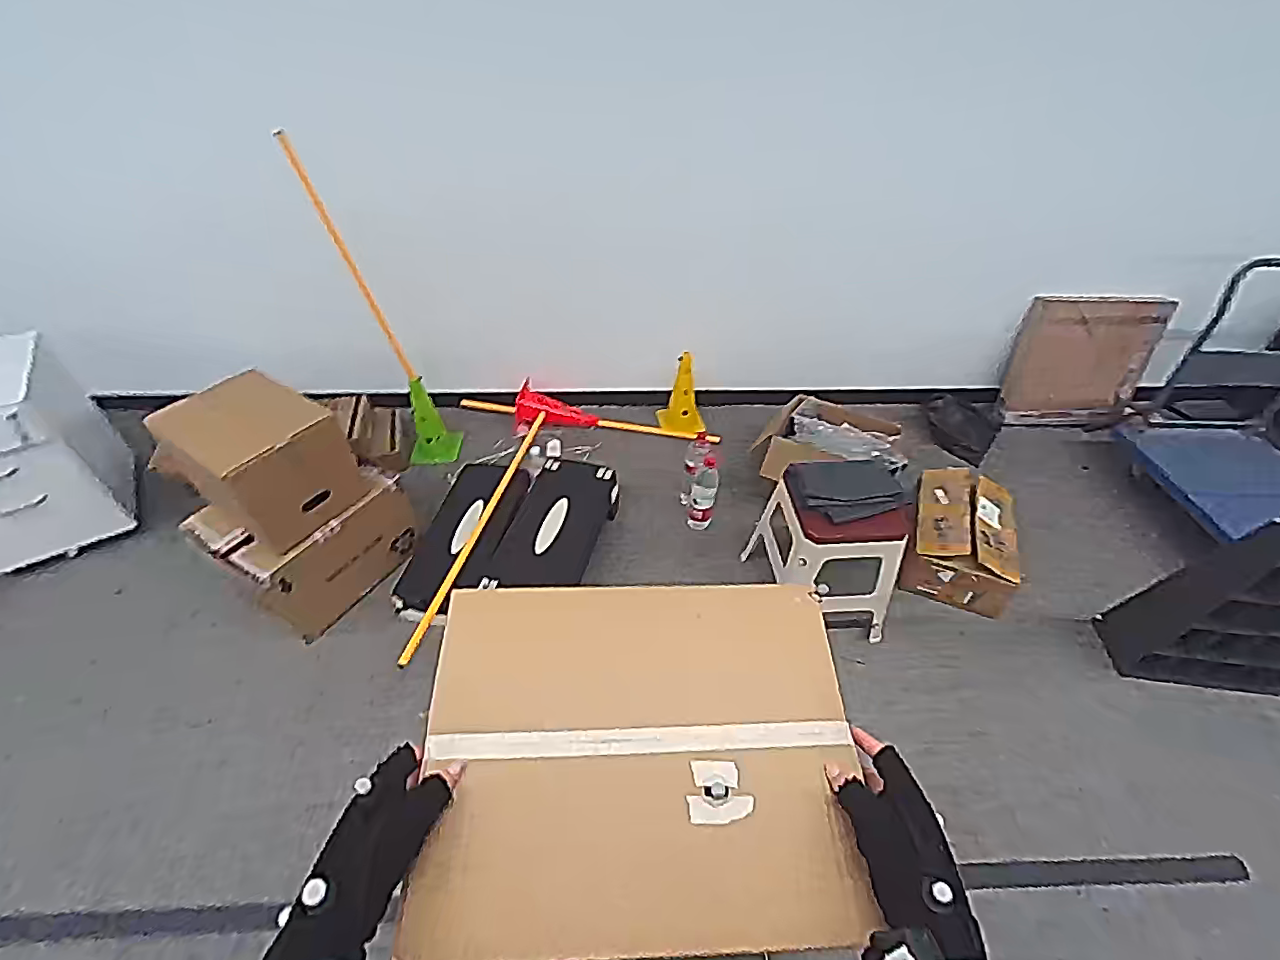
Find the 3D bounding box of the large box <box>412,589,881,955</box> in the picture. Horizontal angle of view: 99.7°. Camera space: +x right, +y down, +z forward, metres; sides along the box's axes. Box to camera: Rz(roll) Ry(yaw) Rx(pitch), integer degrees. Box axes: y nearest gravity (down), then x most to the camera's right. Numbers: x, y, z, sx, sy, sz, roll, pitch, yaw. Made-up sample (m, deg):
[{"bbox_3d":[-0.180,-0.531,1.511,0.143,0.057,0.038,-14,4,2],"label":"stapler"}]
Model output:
[{"bbox_3d":[-0.004,0.341,0.654,0.408,0.320,0.320,0,55,-3],"label":"large box"}]
